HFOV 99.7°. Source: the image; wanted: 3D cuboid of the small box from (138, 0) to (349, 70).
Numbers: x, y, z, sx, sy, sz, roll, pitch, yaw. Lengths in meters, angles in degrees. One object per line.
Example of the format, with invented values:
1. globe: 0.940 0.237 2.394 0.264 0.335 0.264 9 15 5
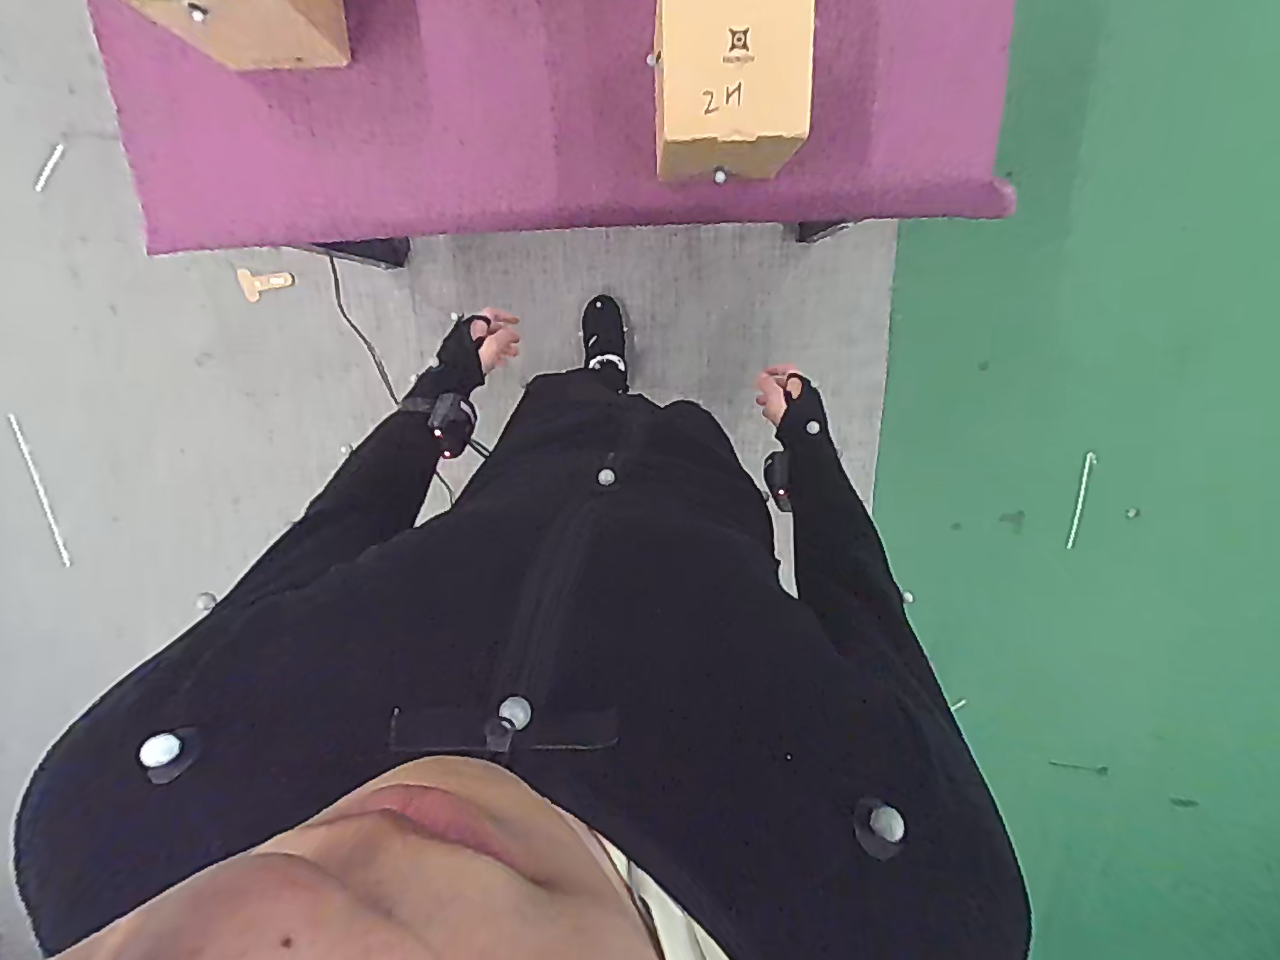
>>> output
1. small box: -0.465 -0.610 0.618 0.168 0.176 0.179 -2 105 0

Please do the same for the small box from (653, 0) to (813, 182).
1. small box: 0.103 -0.489 0.667 0.168 0.176 0.179 -2 104 0
